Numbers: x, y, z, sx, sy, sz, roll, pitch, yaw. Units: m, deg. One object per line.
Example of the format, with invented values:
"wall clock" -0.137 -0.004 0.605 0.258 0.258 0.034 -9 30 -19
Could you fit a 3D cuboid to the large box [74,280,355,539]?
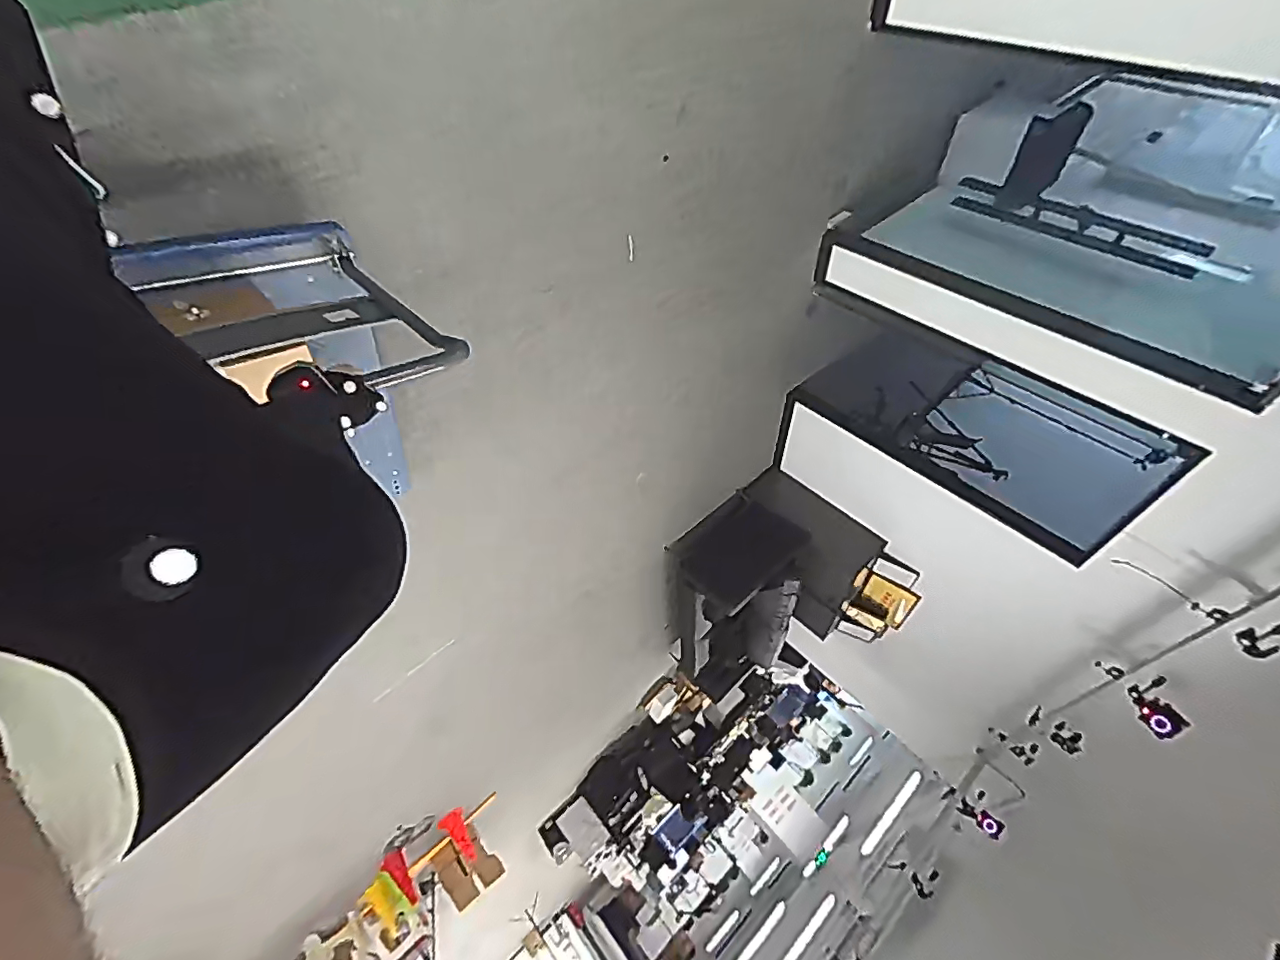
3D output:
"large box" -0.894 -0.159 1.180 0.320 0.320 0.408 -30 146 -32
